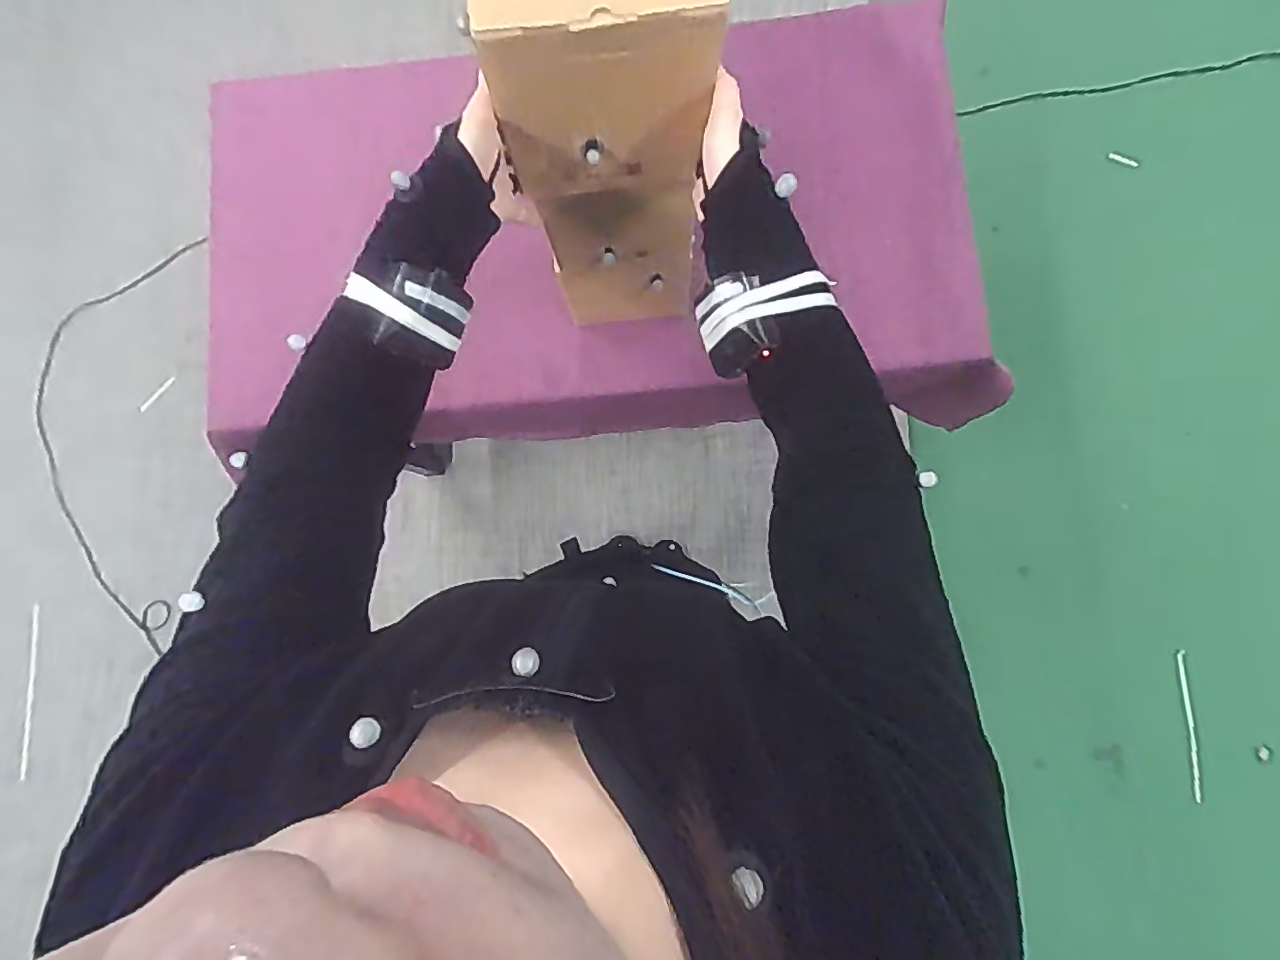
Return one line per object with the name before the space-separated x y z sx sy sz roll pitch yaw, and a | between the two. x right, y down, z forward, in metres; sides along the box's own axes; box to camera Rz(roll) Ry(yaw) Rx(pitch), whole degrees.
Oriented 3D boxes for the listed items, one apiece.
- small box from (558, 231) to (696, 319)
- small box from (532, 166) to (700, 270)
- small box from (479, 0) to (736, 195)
small box | -0.019 -0.343 0.766 0.179 0.176 0.168 -5 83 2
small box | -0.028 -0.363 0.604 0.168 0.176 0.179 -6 84 3
small box | -0.033 -0.363 0.428 0.168 0.176 0.179 -8 86 -2
